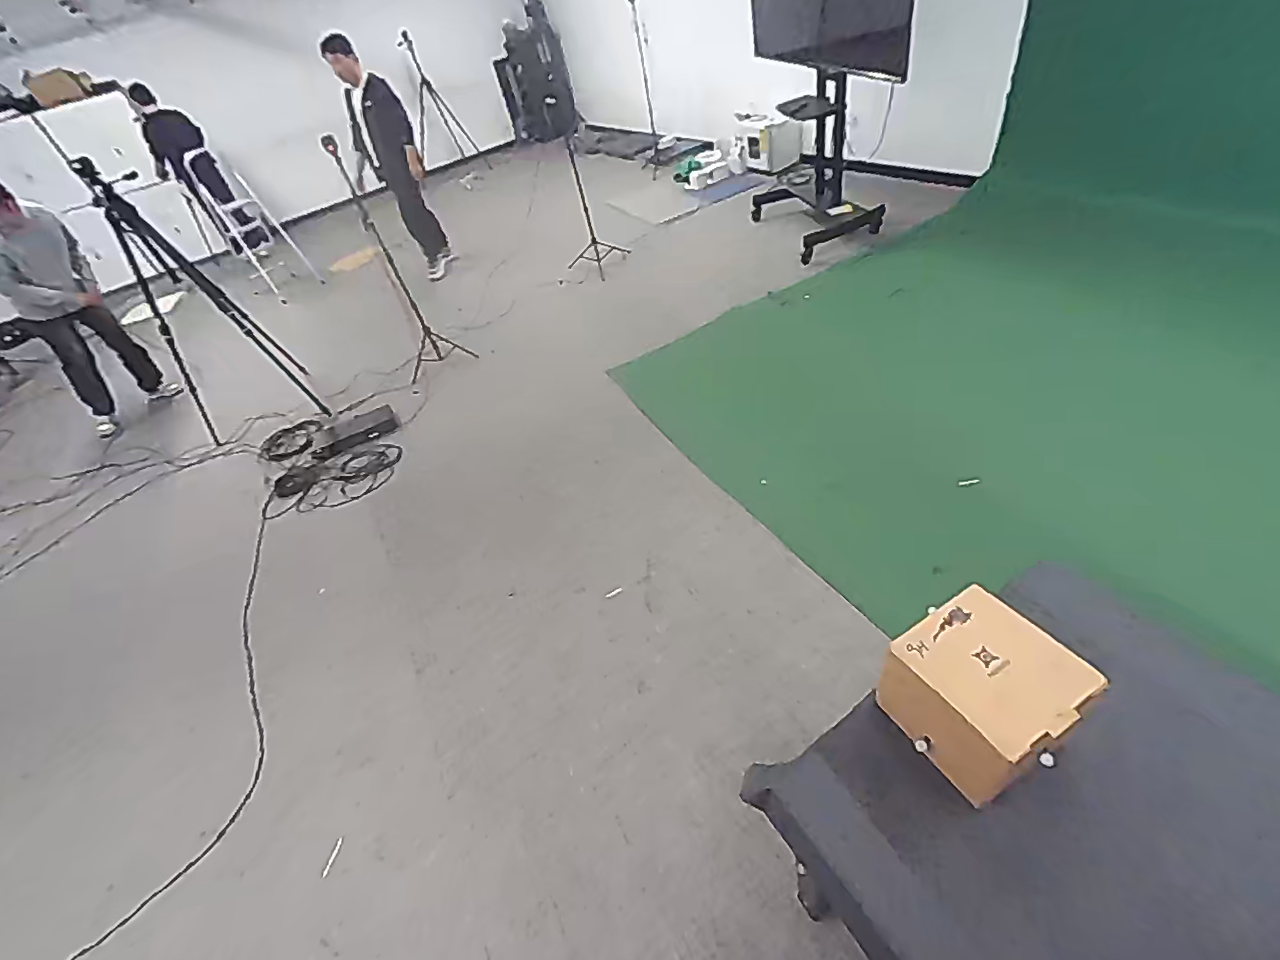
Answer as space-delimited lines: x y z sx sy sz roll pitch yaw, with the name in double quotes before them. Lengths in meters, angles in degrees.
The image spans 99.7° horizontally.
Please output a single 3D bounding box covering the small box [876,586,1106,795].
"small box" 0.442 0.283 0.715 0.168 0.176 0.179 -28 44 -13
